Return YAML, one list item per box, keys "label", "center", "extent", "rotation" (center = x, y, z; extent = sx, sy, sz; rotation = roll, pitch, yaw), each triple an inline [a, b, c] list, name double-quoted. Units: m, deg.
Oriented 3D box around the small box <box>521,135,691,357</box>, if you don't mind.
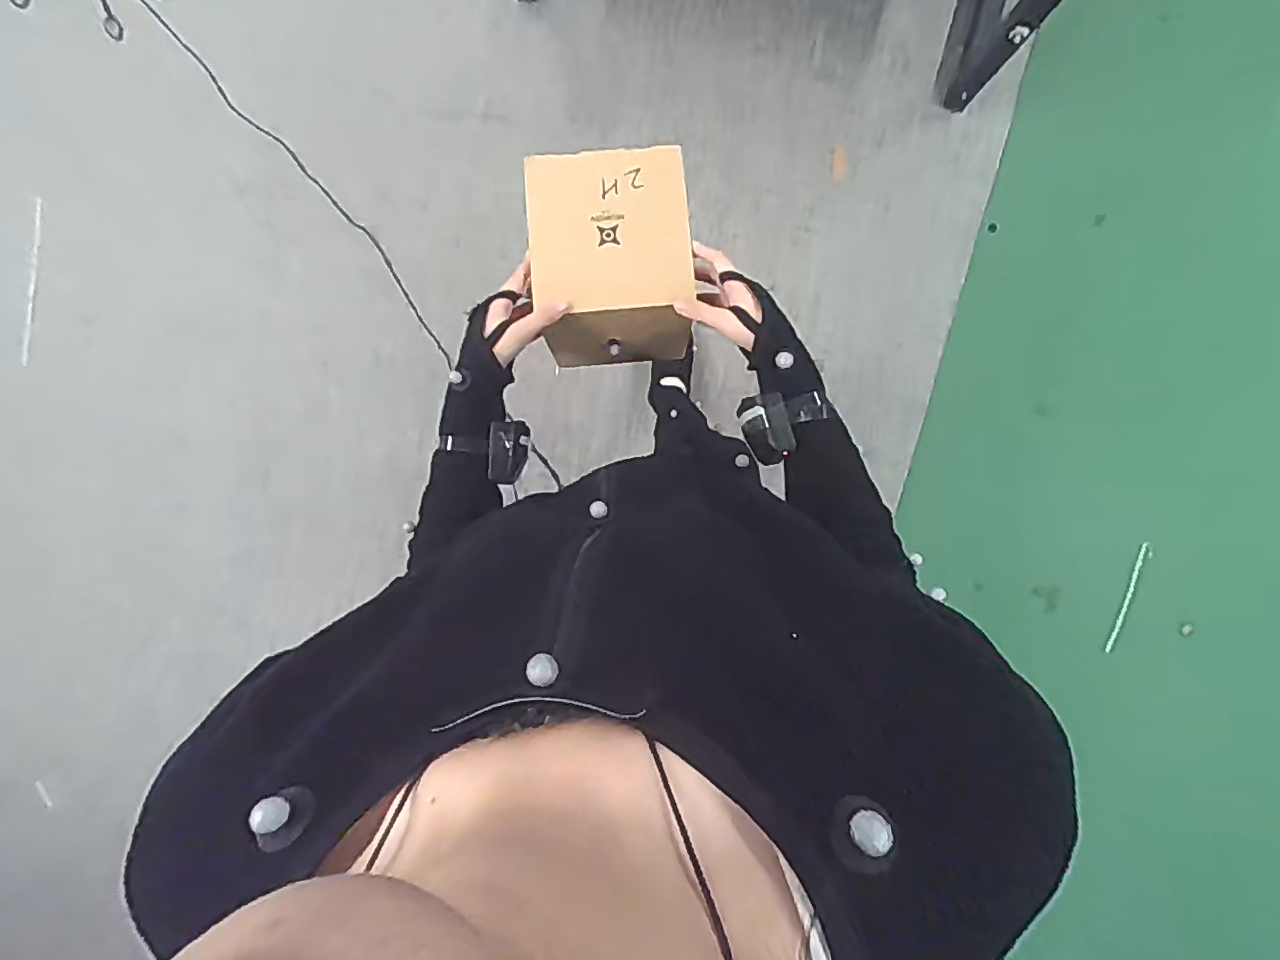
- label: "small box"
  center: [-0.034, -0.249, 0.617]
  extent: [0.168, 0.176, 0.179]
  rotation: [-4, 82, -1]
